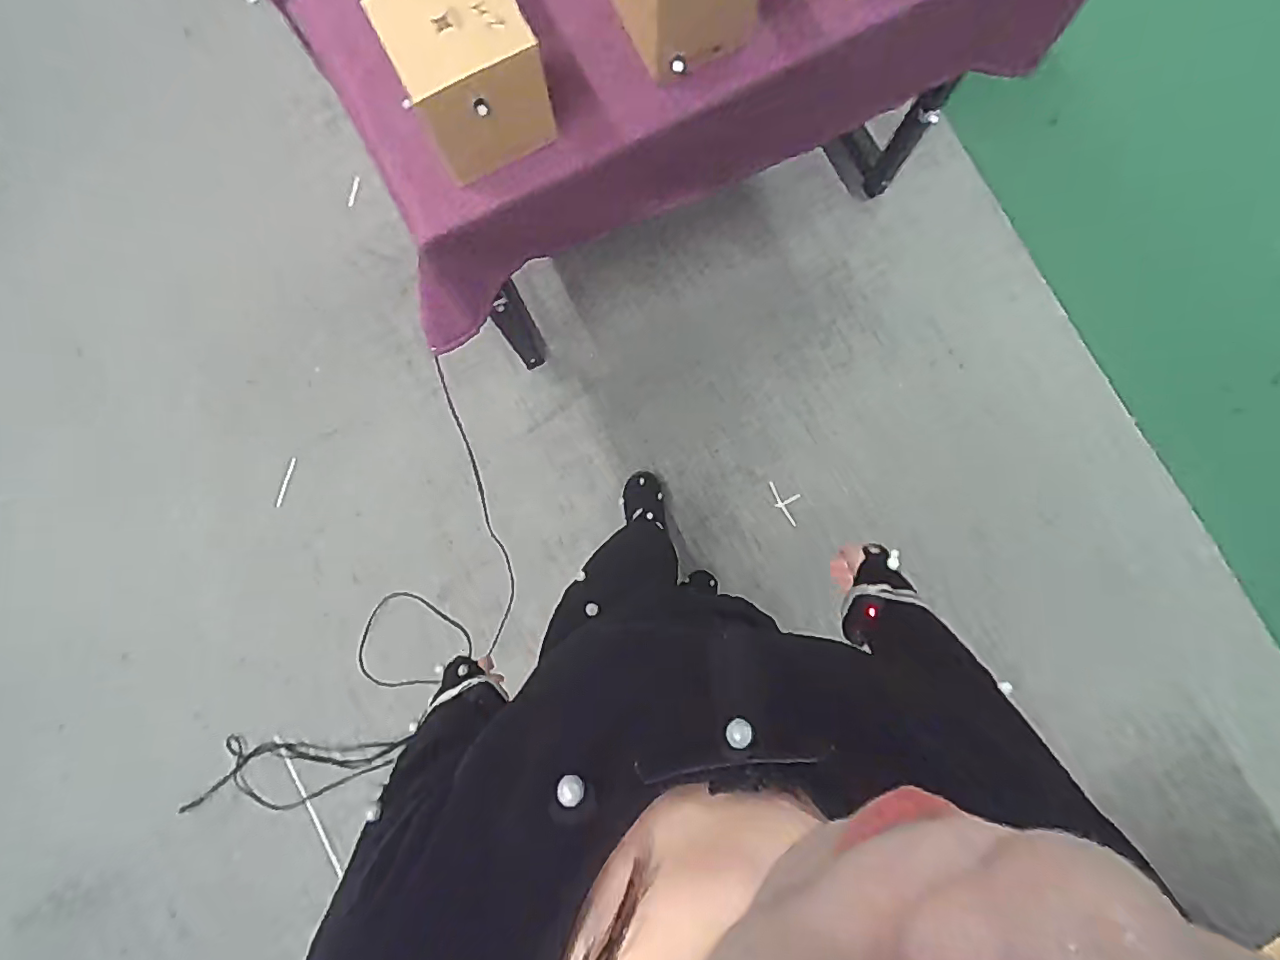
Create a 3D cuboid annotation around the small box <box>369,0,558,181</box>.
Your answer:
[{"bbox_3d":[-0.237,-0.571,0.769,0.179,0.176,0.168,-27,84,-2],"label":"small box"}]

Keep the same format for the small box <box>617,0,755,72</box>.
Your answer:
[{"bbox_3d":[0.065,-0.739,0.780,0.168,0.176,0.179,-25,83,-2],"label":"small box"}]
